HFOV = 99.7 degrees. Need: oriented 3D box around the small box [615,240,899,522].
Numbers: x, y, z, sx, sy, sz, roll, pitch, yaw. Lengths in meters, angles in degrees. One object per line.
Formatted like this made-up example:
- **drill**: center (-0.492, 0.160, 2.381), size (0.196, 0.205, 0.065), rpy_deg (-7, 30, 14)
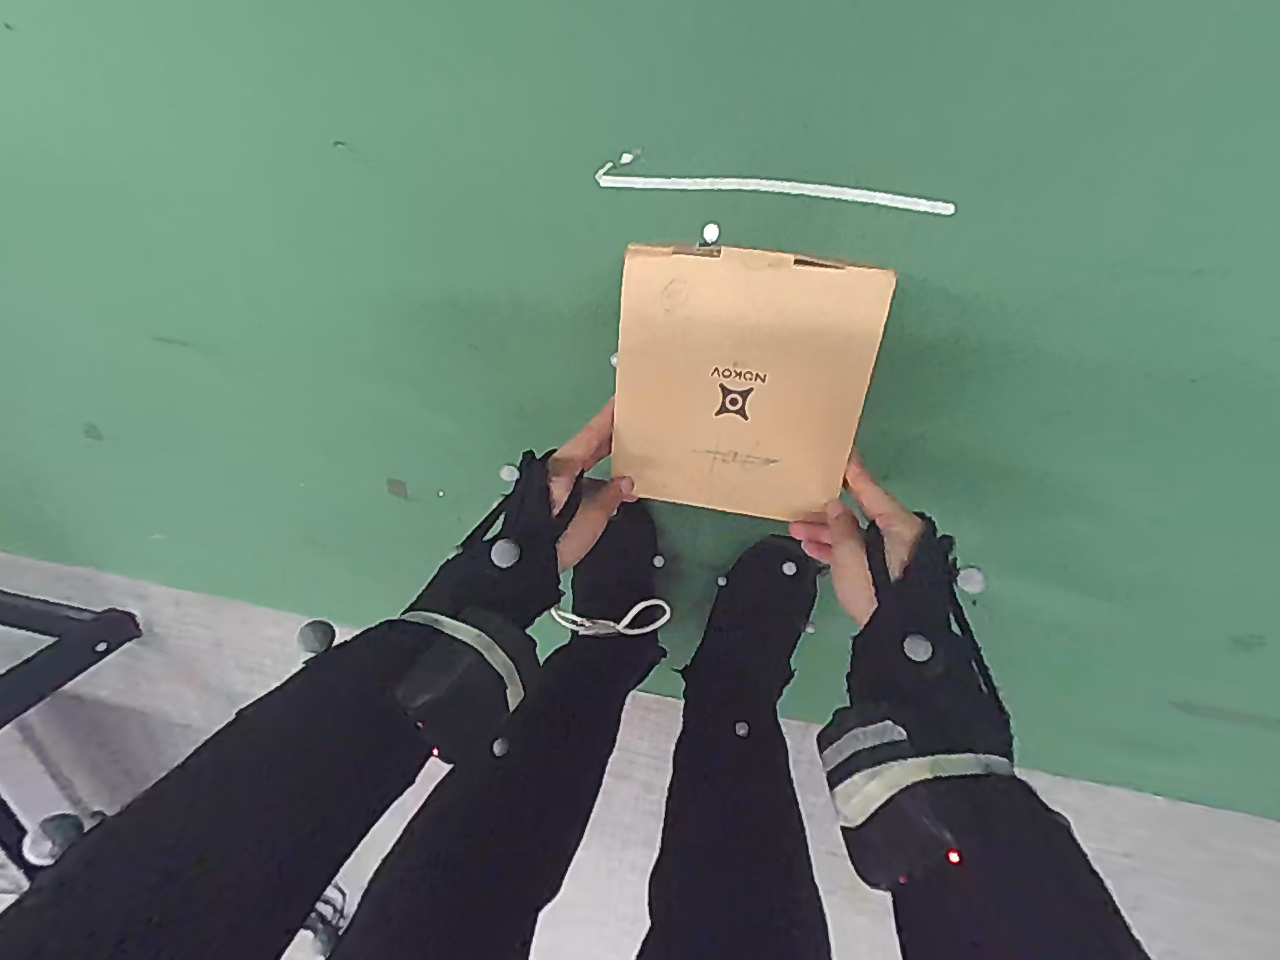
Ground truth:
- **small box**: center (0.083, -0.093, 0.437), size (0.168, 0.176, 0.179), rpy_deg (10, 117, 9)
